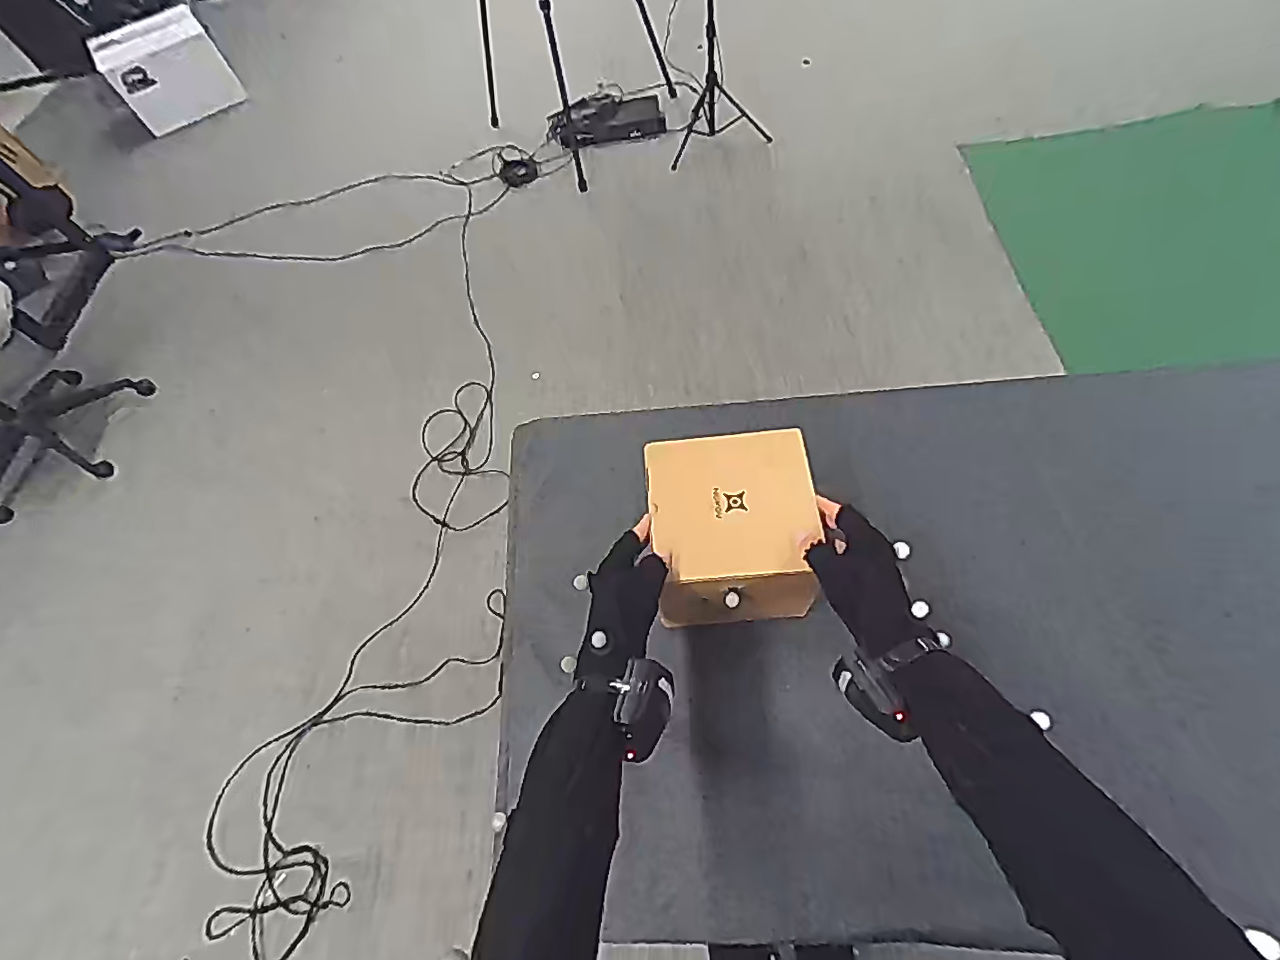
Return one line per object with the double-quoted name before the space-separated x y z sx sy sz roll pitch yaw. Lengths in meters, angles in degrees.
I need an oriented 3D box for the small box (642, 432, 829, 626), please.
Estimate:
"small box" 0.101 0.065 0.628 0.179 0.176 0.168 -7 60 6
